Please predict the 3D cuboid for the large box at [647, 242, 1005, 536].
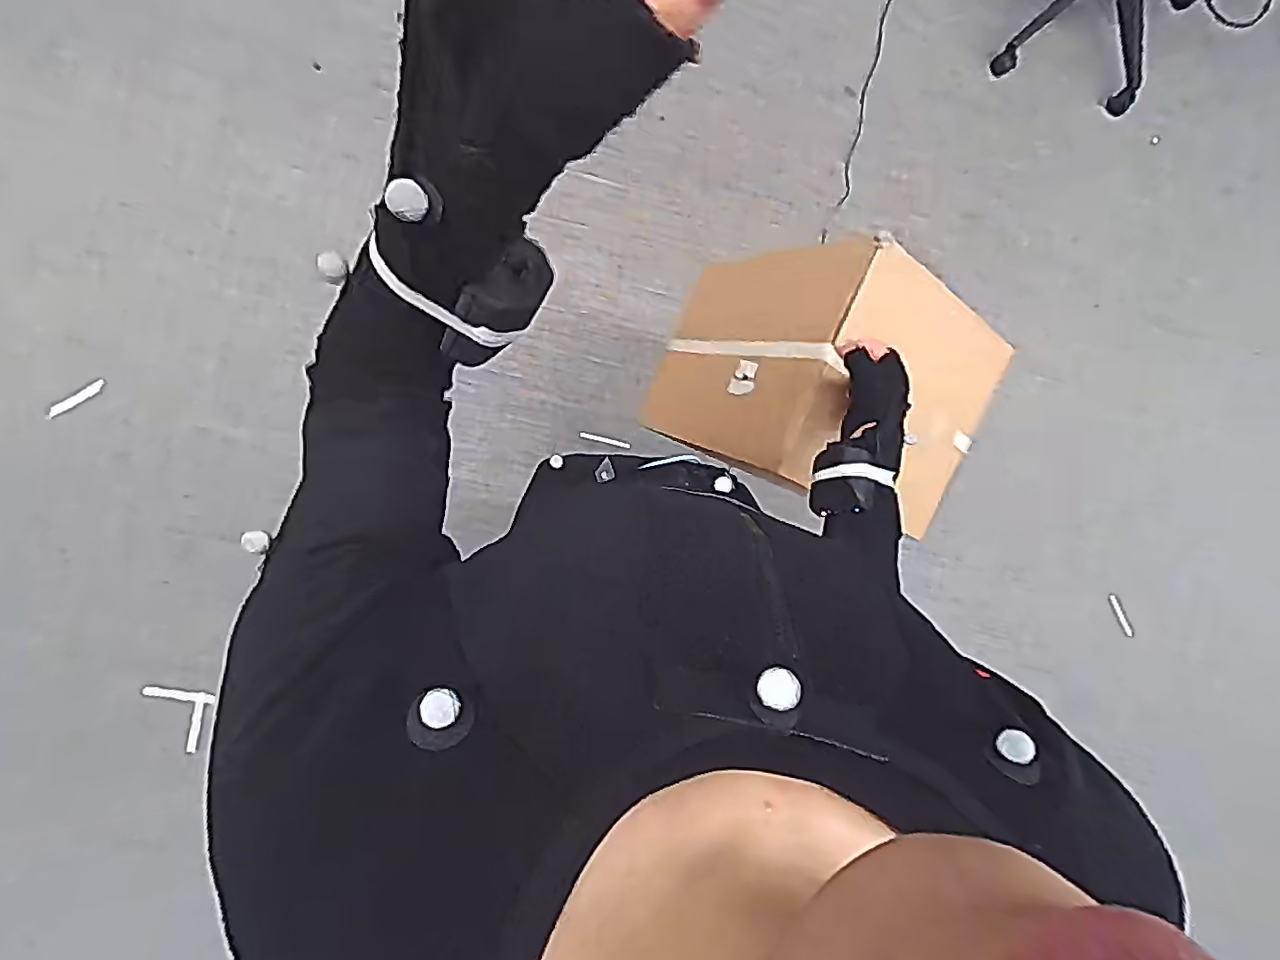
[{"bbox_3d":[0.276,-0.147,0.904,0.320,0.408,0.320,22,95,-28],"label":"large box"}]
